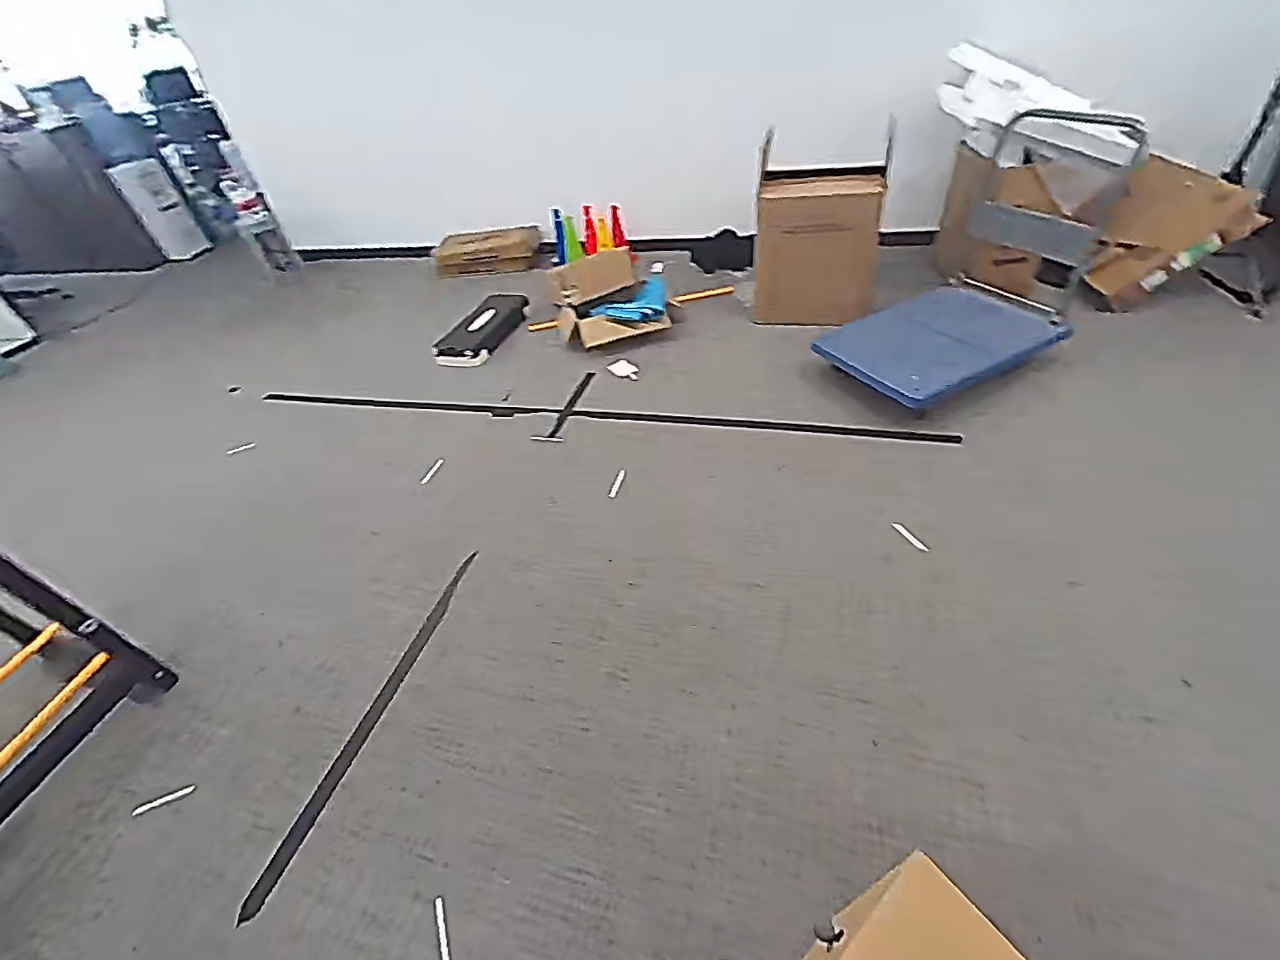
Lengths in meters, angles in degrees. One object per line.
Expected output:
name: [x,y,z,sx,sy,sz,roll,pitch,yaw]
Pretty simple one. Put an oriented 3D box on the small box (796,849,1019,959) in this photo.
small box: [0.171,0.398,0.344,0.168,0.176,0.179,-21,47,-34]
